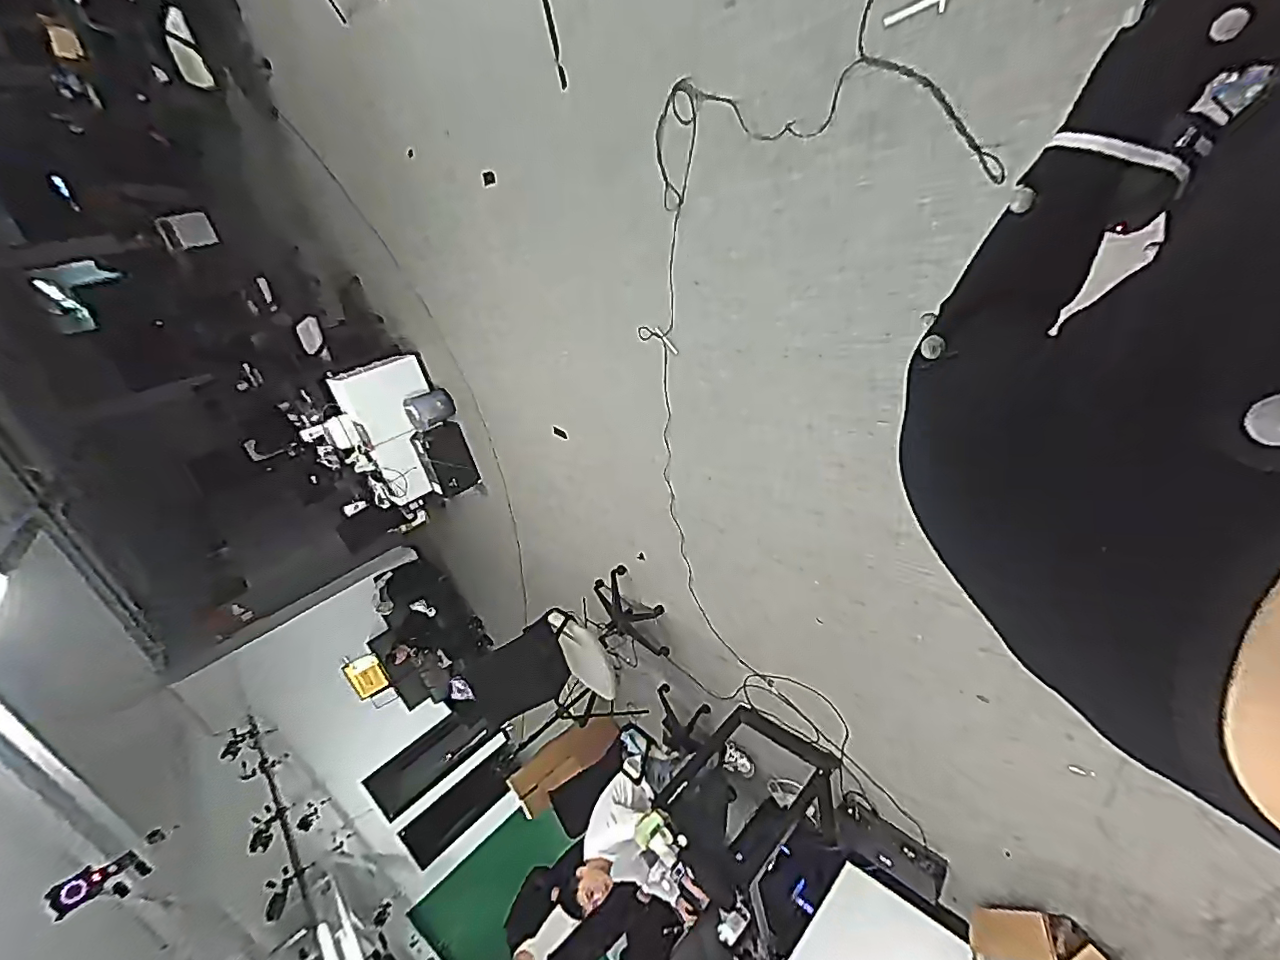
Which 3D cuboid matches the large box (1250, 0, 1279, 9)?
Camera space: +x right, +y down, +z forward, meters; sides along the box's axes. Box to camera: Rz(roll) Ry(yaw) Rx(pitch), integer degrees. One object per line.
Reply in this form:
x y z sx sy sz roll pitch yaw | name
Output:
0.839 -0.692 0.461 0.408 0.320 0.320 11 126 47 | large box
